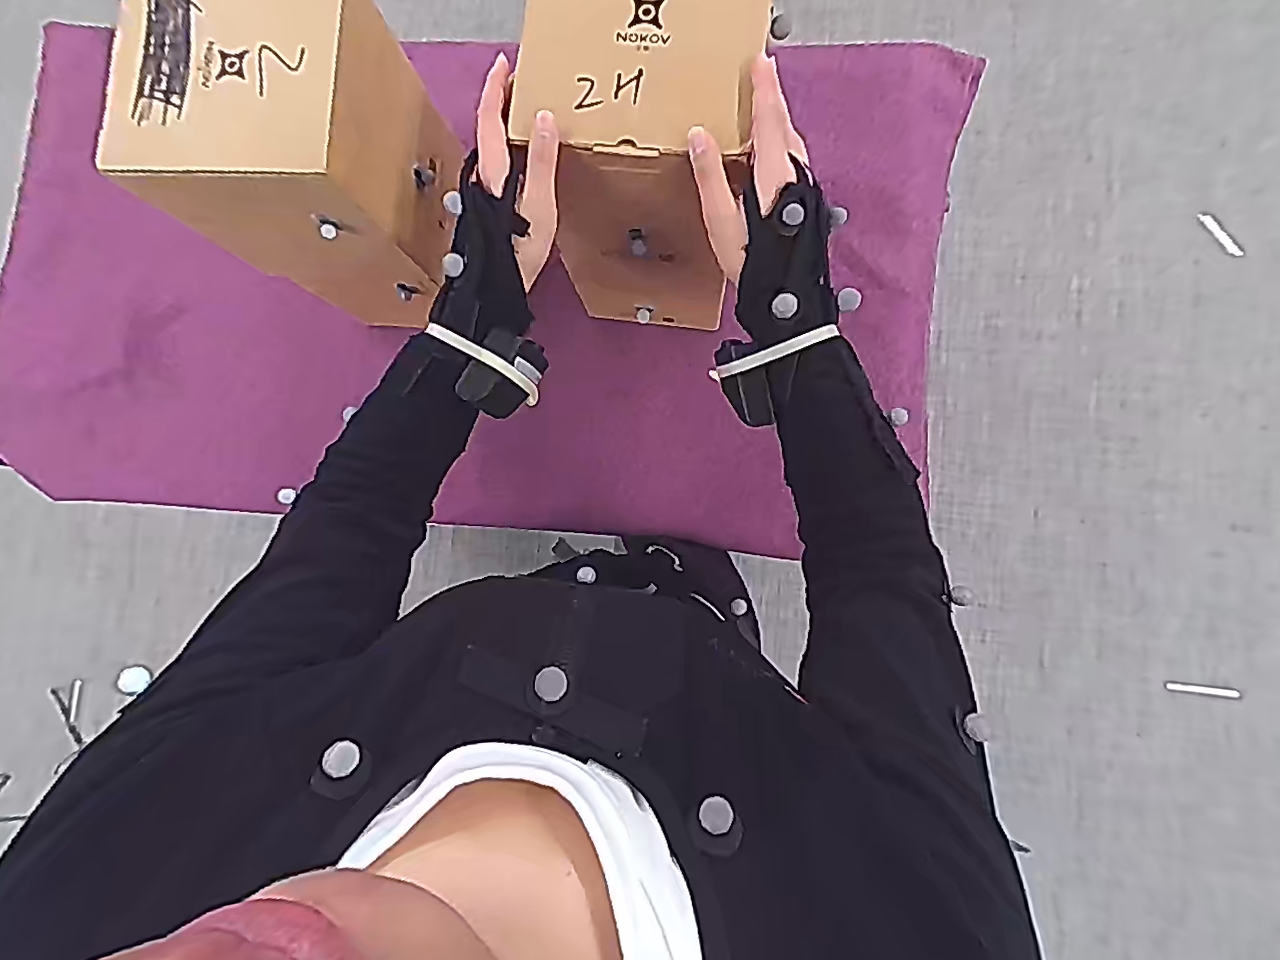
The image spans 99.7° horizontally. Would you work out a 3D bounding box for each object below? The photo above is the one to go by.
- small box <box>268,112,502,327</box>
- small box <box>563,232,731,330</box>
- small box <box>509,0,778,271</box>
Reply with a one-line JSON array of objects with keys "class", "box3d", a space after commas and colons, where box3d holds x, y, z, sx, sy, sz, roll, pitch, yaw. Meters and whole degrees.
[{"class": "small box", "box3d": [-0.278, -0.287, 0.627, 0.179, 0.176, 0.168, 5, 86, 5]}, {"class": "small box", "box3d": [0.023, -0.287, 0.599, 0.168, 0.176, 0.179, 8, 87, 6]}, {"class": "small box", "box3d": [0.012, -0.297, 0.434, 0.168, 0.176, 0.179, 8, 86, 6]}]
